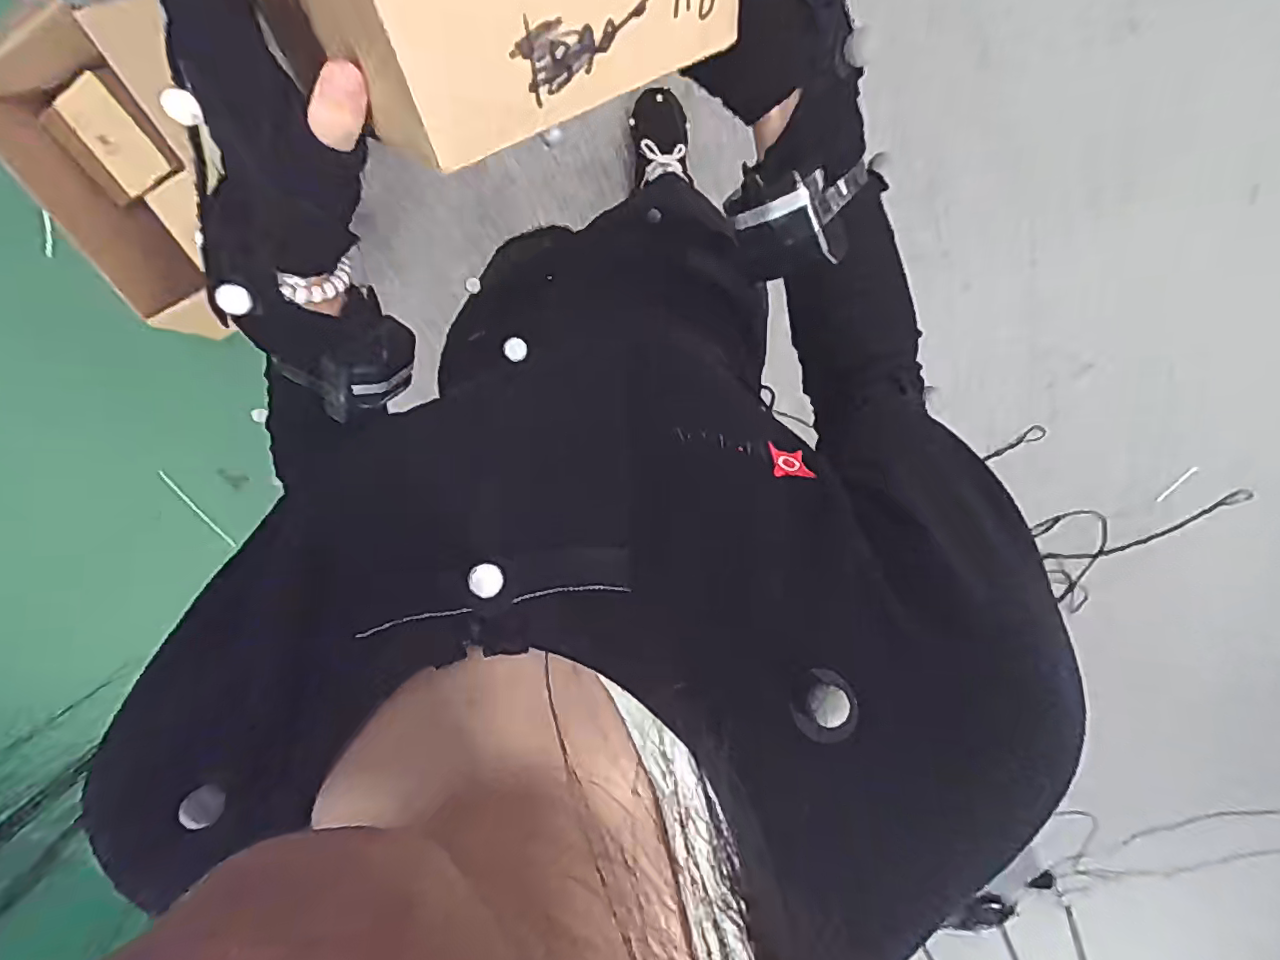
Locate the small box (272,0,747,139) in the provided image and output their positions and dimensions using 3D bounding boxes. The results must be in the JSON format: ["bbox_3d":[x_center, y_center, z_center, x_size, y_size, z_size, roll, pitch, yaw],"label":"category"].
[{"bbox_3d":[-0.077,-0.268,0.207,0.168,0.176,0.179,-38,144,-17],"label":"small box"}]

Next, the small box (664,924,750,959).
[{"bbox_3d":[0.165,1.175,1.269,0.179,0.176,0.168,-21,121,14],"label":"small box"}]
